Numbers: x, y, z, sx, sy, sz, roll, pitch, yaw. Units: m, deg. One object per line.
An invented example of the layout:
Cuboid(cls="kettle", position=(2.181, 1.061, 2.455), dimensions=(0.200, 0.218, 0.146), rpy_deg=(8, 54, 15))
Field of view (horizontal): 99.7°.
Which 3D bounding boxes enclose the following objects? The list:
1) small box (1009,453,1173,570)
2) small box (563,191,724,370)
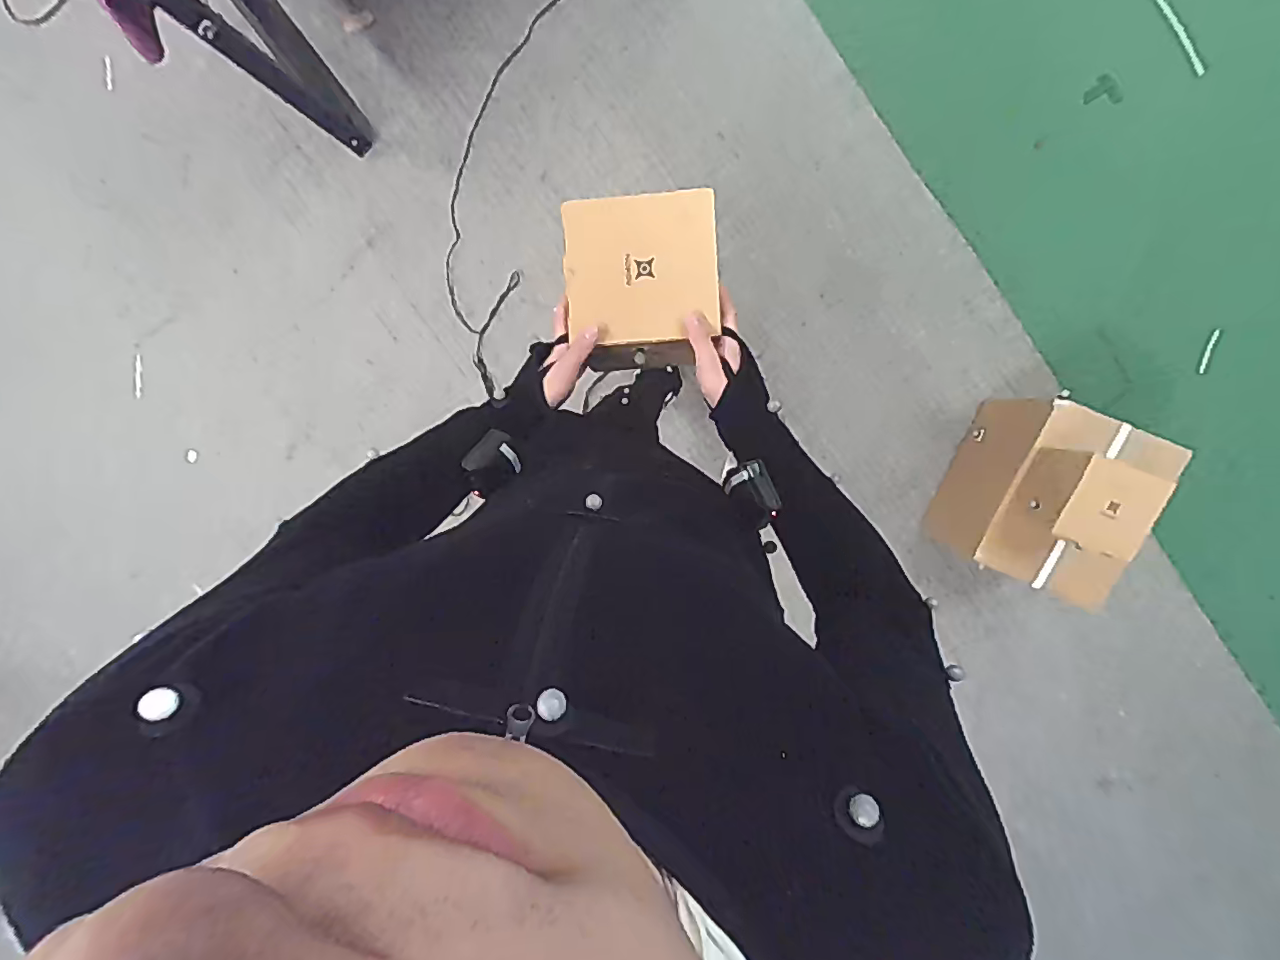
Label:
Cuboid(cls="small box", position=(0.917, 0.057, 1.124), dimensions=(0.168, 0.176, 0.179), rpy_deg=(24, 99, 2))
Cuboid(cls="small box", position=(0.009, -0.237, 0.682), dimensions=(0.179, 0.176, 0.168), rpy_deg=(-3, 92, 5))
